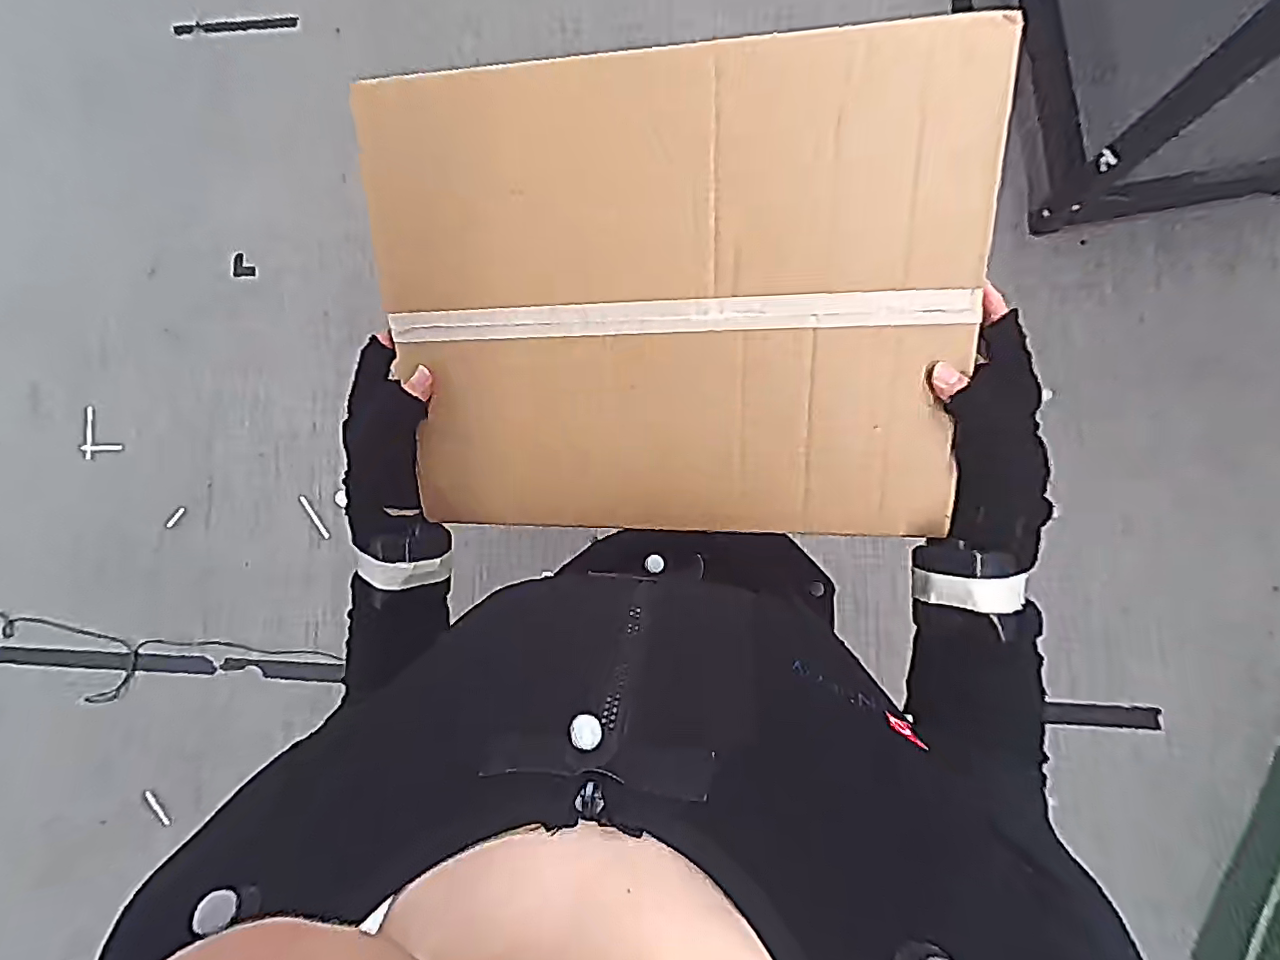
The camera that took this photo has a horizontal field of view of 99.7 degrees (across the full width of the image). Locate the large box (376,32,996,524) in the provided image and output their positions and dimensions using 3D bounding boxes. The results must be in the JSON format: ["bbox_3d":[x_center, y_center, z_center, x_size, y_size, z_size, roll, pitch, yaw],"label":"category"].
[{"bbox_3d":[0.039,-0.157,0.527,0.408,0.320,0.320,1,109,9],"label":"large box"}]
